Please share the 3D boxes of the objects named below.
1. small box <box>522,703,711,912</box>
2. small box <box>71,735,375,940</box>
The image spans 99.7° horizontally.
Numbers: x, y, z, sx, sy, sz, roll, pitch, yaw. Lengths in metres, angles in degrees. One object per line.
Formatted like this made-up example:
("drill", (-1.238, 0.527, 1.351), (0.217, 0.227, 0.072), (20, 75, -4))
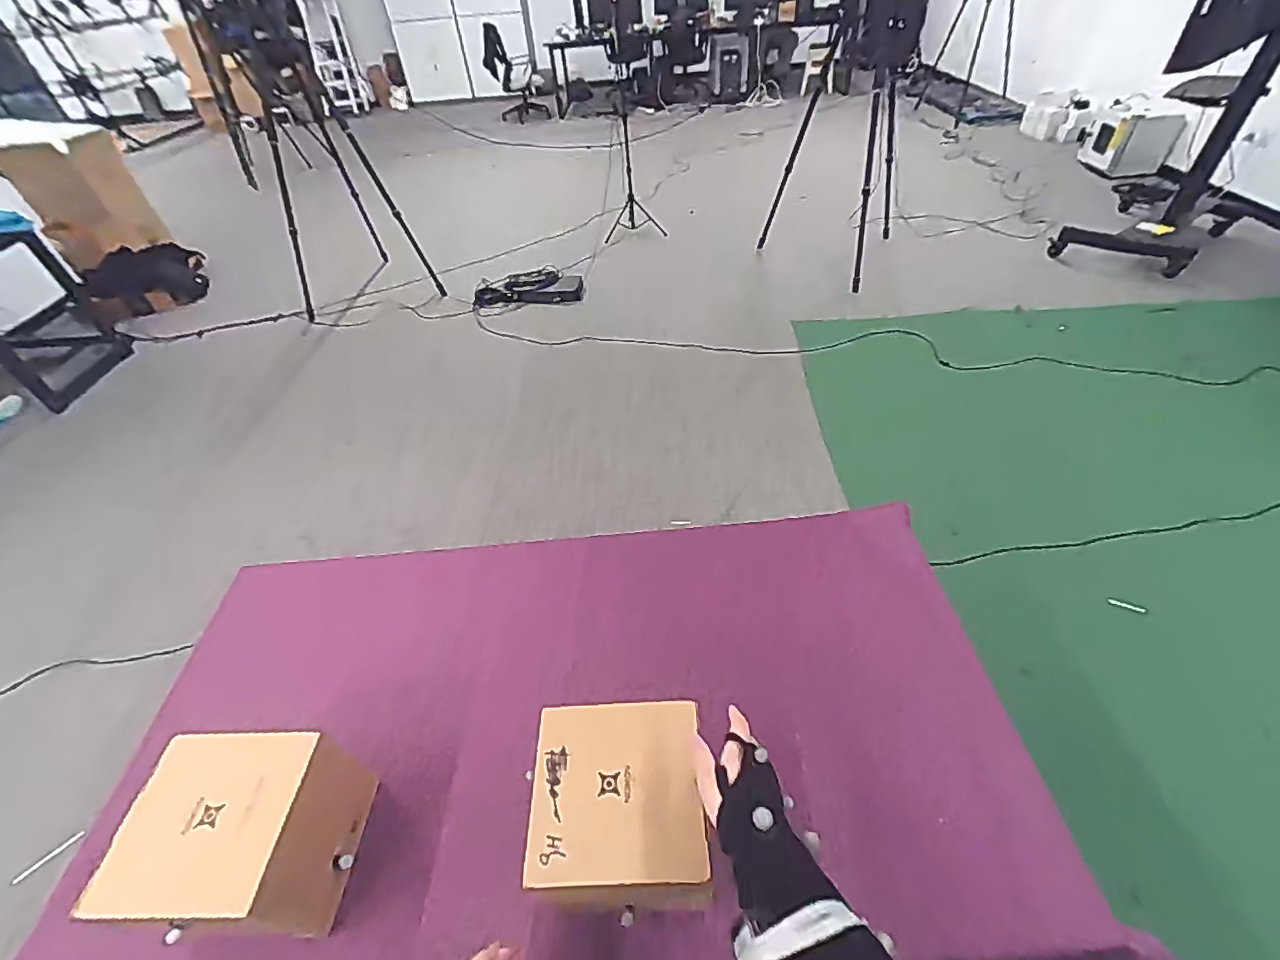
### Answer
("small box", (-0.019, 0.366, 0.605), (0.179, 0.176, 0.168), (-3, 44, 2))
("small box", (-0.439, 0.404, 0.609), (0.179, 0.176, 0.168), (-2, 45, 3))
